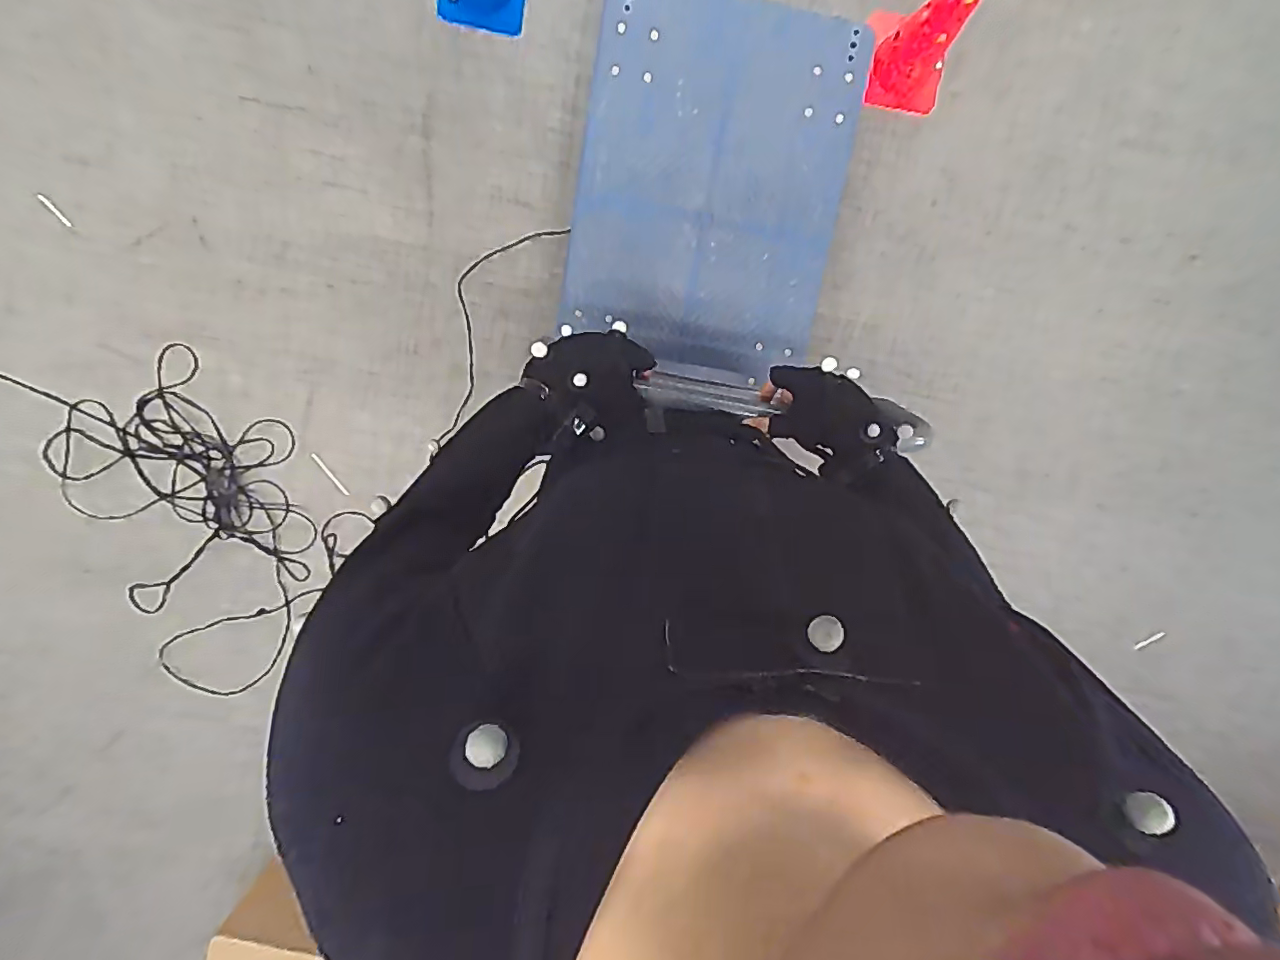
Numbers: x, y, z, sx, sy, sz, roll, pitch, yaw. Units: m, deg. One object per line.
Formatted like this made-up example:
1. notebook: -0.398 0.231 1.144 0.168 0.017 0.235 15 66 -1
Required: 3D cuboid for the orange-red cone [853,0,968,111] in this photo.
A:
1. orange-red cone: 0.630 -0.985 1.143 0.199 0.360 0.198 10 100 -2
